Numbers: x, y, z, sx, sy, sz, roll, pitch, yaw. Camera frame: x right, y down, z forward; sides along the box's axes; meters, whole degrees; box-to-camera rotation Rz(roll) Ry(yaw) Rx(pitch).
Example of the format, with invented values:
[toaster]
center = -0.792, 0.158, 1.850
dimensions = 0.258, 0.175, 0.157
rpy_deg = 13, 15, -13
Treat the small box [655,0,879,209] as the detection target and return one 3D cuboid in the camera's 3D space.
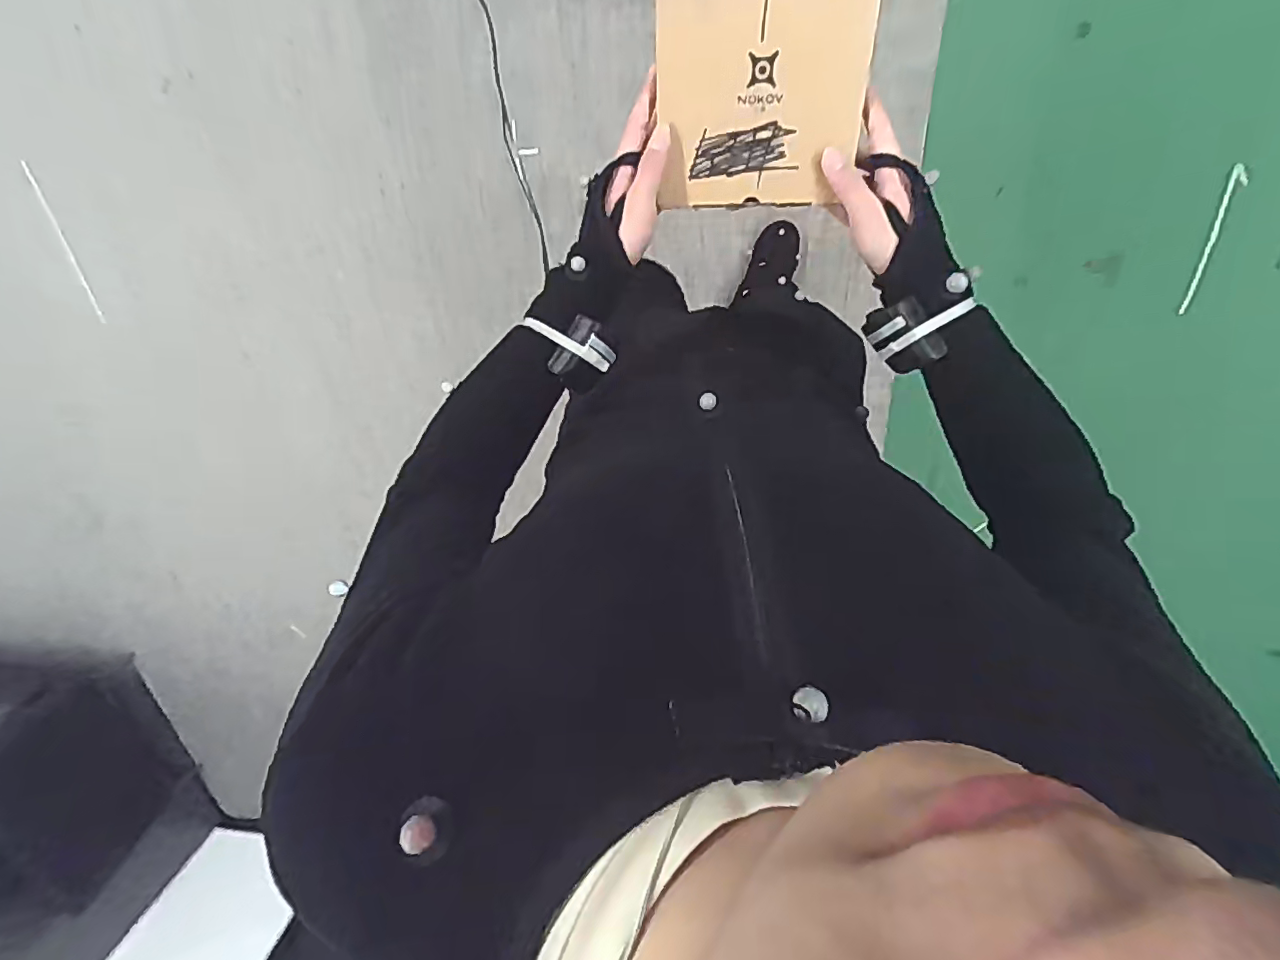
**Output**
[small box]
center = 0.103, -0.353, 0.490
dimensions = 0.168, 0.176, 0.179
rpy_deg = 2, 121, 6
